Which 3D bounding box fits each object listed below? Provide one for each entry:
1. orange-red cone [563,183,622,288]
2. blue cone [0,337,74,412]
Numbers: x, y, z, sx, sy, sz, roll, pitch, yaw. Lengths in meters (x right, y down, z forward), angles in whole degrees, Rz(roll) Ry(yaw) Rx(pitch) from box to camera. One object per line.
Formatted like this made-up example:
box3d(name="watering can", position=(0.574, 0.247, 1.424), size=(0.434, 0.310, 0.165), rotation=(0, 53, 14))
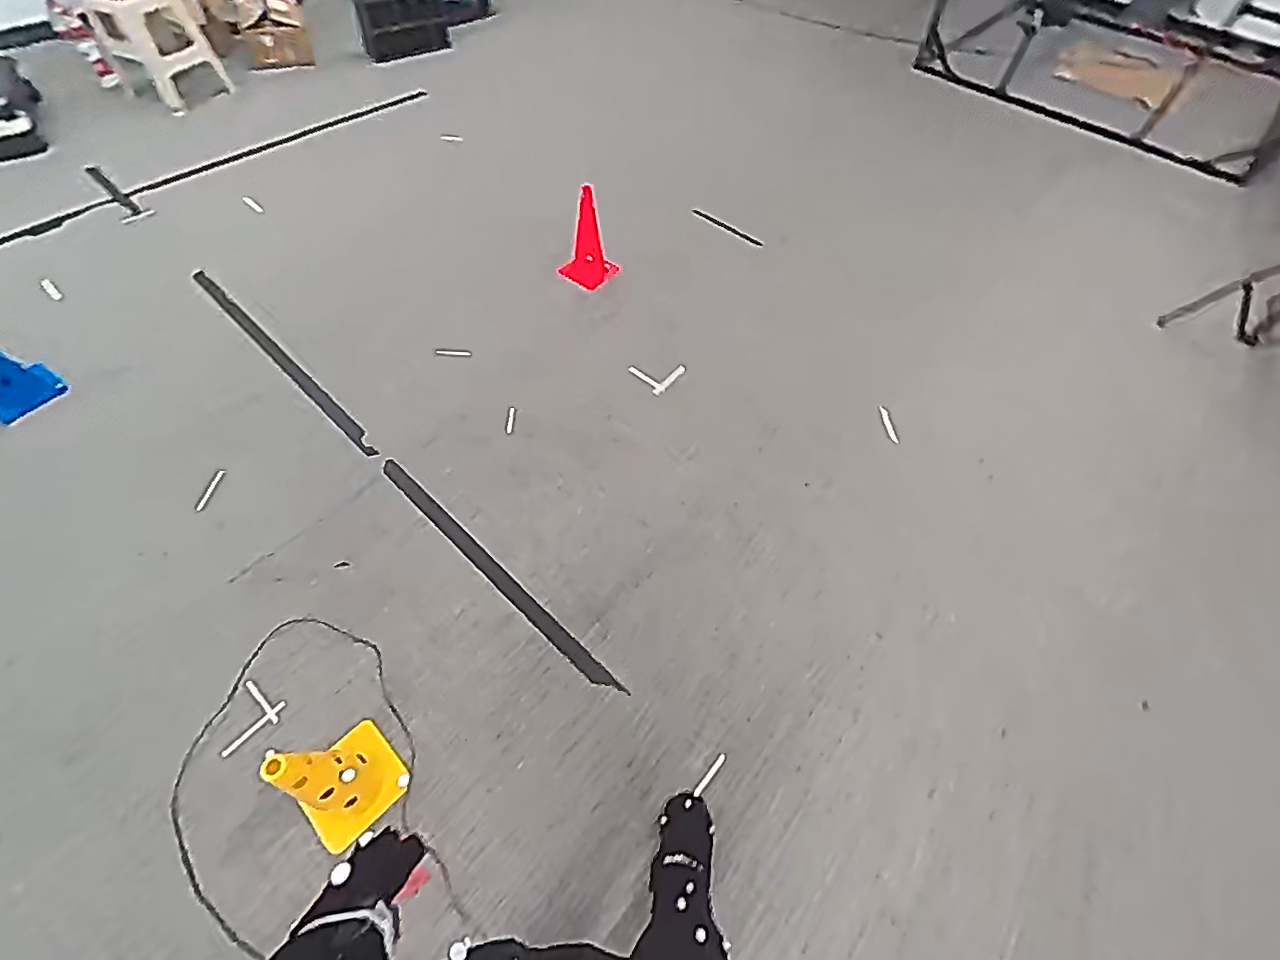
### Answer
box3d(name="orange-red cone", position=(-0.192, -0.984, 2.135), size=(0.199, 0.360, 0.198), rotation=(34, 60, 19))
box3d(name="blue cone", position=(-1.995, -0.402, 1.643), size=(0.193, 0.380, 0.192), rotation=(34, 61, 18))
